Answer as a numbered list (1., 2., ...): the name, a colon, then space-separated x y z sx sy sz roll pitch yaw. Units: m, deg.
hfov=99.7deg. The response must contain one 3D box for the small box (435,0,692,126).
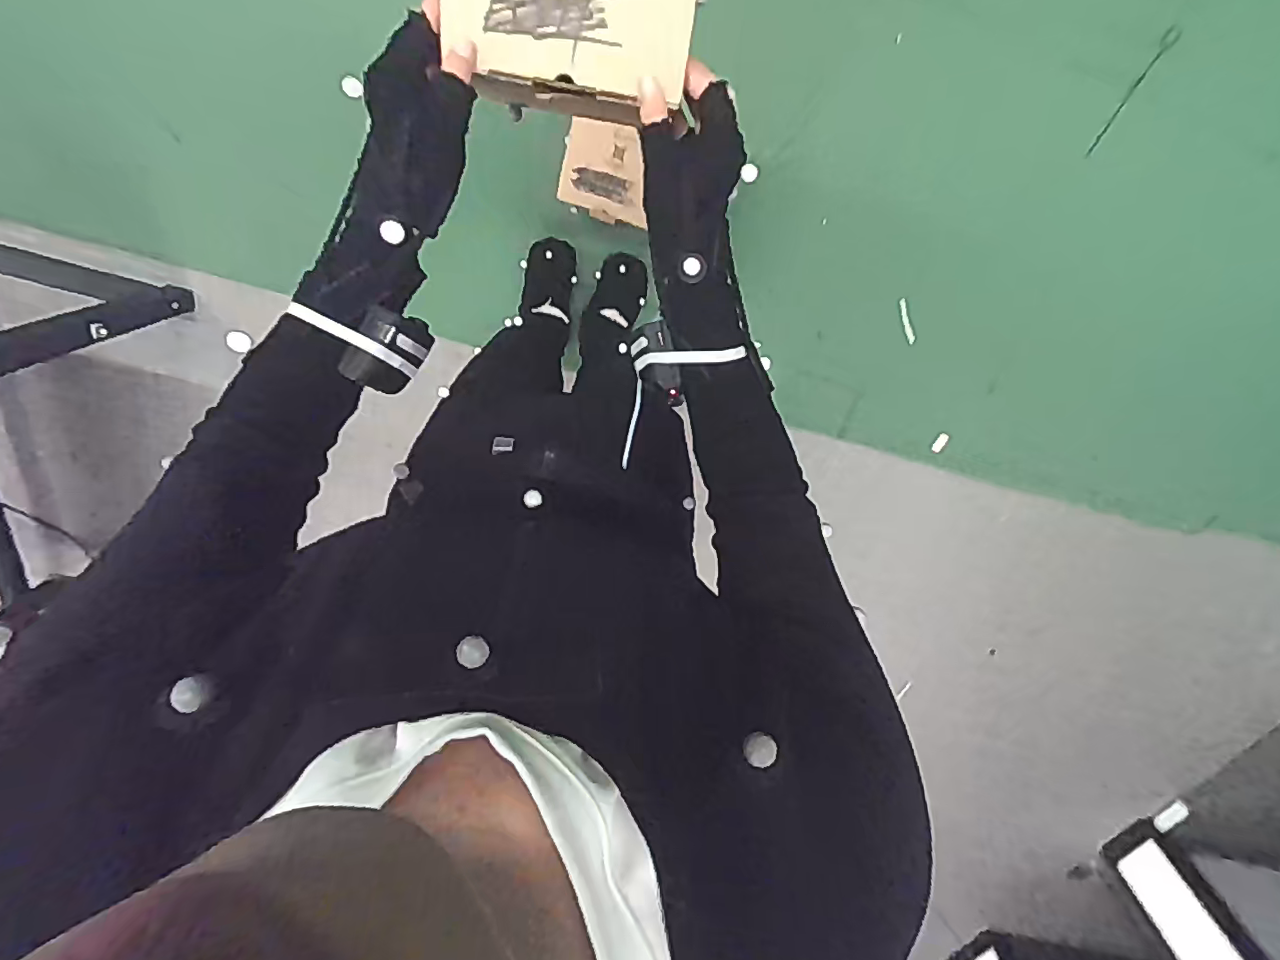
1. small box: -0.046 -0.381 0.398 0.168 0.176 0.179 5 116 -8

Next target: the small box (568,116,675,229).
1. small box: -0.038 -0.635 1.098 0.168 0.176 0.179 17 119 -8
